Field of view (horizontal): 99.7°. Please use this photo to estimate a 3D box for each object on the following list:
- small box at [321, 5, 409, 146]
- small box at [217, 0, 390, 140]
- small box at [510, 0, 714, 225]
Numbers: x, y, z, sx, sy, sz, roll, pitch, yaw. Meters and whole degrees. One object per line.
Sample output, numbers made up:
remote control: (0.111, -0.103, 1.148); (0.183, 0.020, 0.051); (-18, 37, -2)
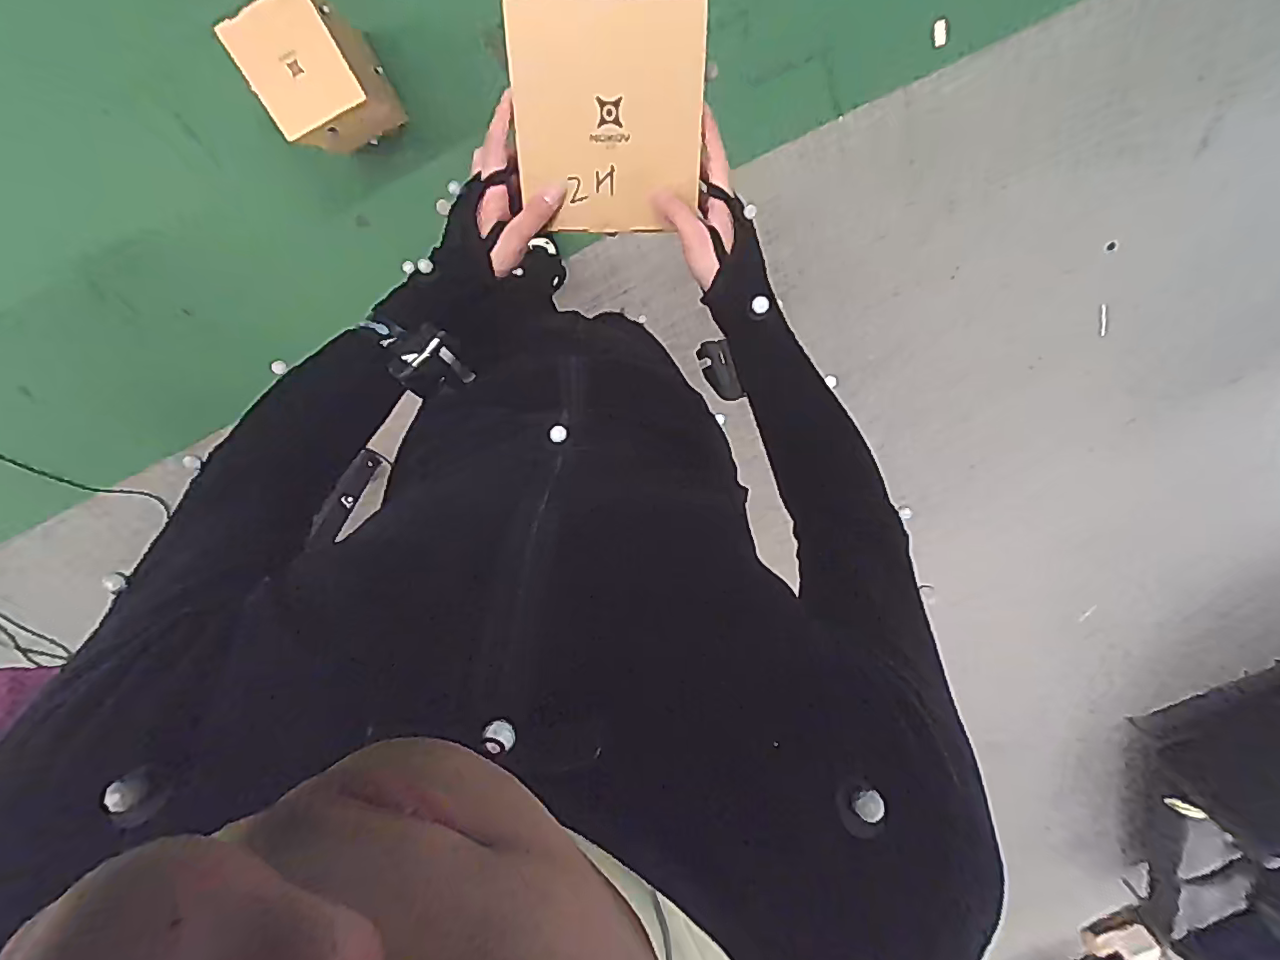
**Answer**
small box: (-0.611, -0.817, 1.114); (0.168, 0.176, 0.179); (-25, 121, 6)
small box: (-0.587, -0.741, 0.974); (0.168, 0.176, 0.179); (-25, 119, 6)
small box: (-0.027, -0.359, 0.534); (0.168, 0.176, 0.179); (0, 123, -1)
